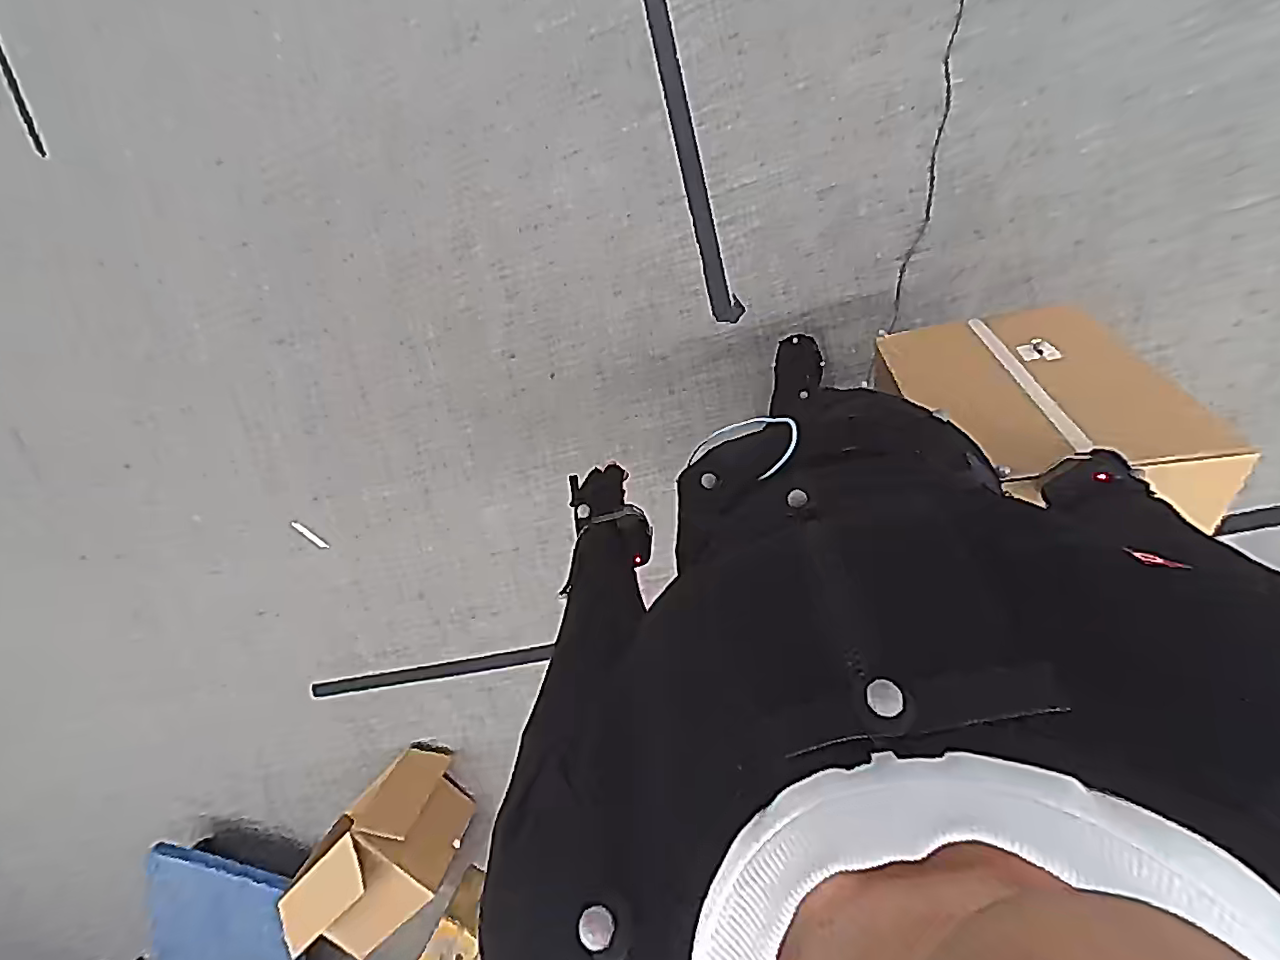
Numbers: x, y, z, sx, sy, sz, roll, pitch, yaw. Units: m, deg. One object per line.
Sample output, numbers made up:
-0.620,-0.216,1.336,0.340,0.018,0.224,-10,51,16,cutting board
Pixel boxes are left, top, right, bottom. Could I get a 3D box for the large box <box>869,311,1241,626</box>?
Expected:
0.585,-0.026,0.882,0.320,0.408,0.320,-7,129,11,large box
